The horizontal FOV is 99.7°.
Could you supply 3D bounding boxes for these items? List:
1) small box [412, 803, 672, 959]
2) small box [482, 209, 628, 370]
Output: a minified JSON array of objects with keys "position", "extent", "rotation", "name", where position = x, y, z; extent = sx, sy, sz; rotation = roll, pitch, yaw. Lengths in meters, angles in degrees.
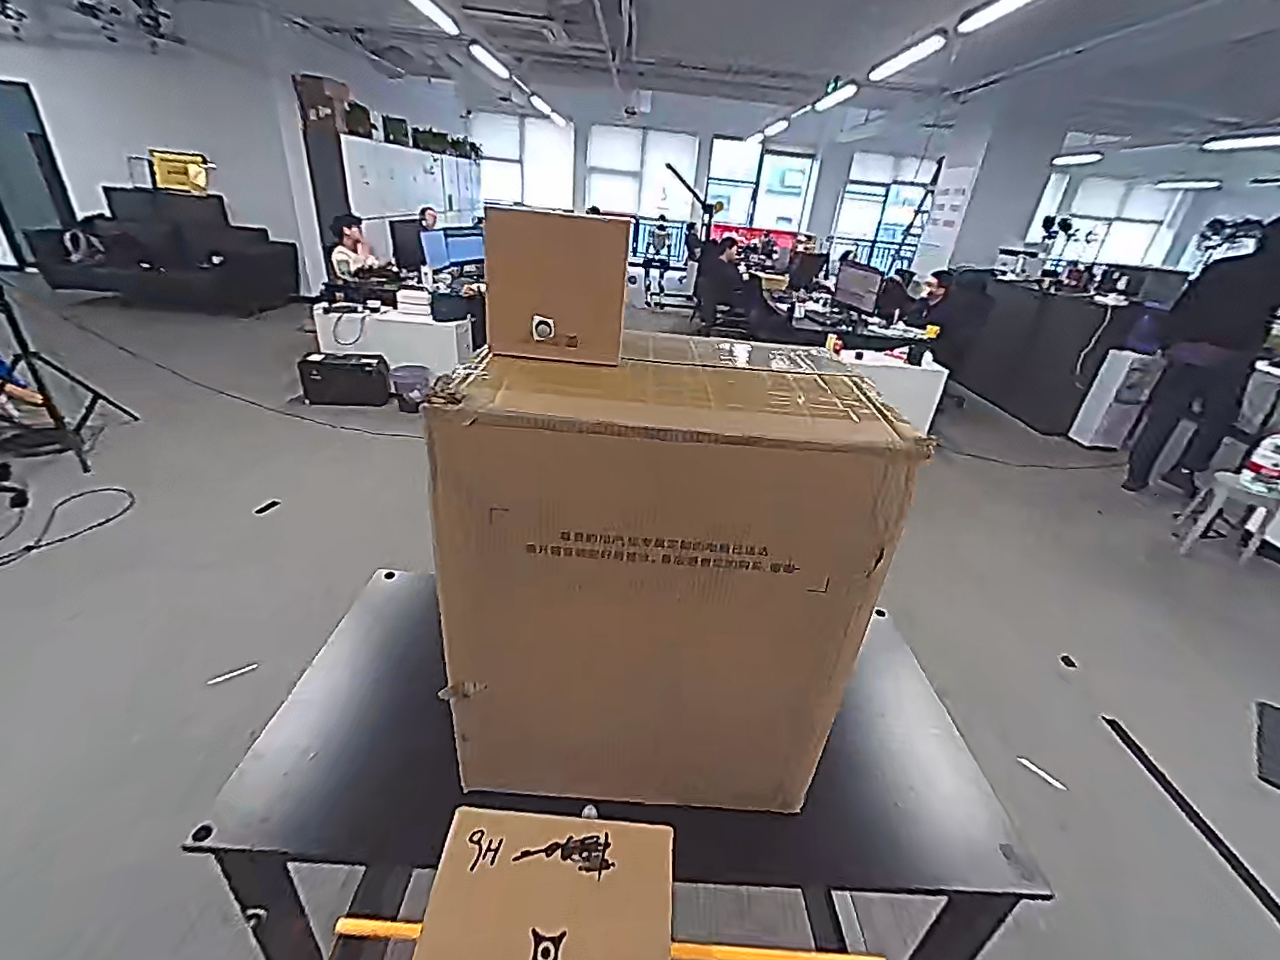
[{"position":[-0.066,0.367,0.397],"extent":[0.168,0.176,0.179],"rotation":[5,43,1],"name":"small box"},{"position":[-0.103,-0.252,0.707],"extent":[0.168,0.176,0.179],"rotation":[3,27,-4],"name":"small box"}]
